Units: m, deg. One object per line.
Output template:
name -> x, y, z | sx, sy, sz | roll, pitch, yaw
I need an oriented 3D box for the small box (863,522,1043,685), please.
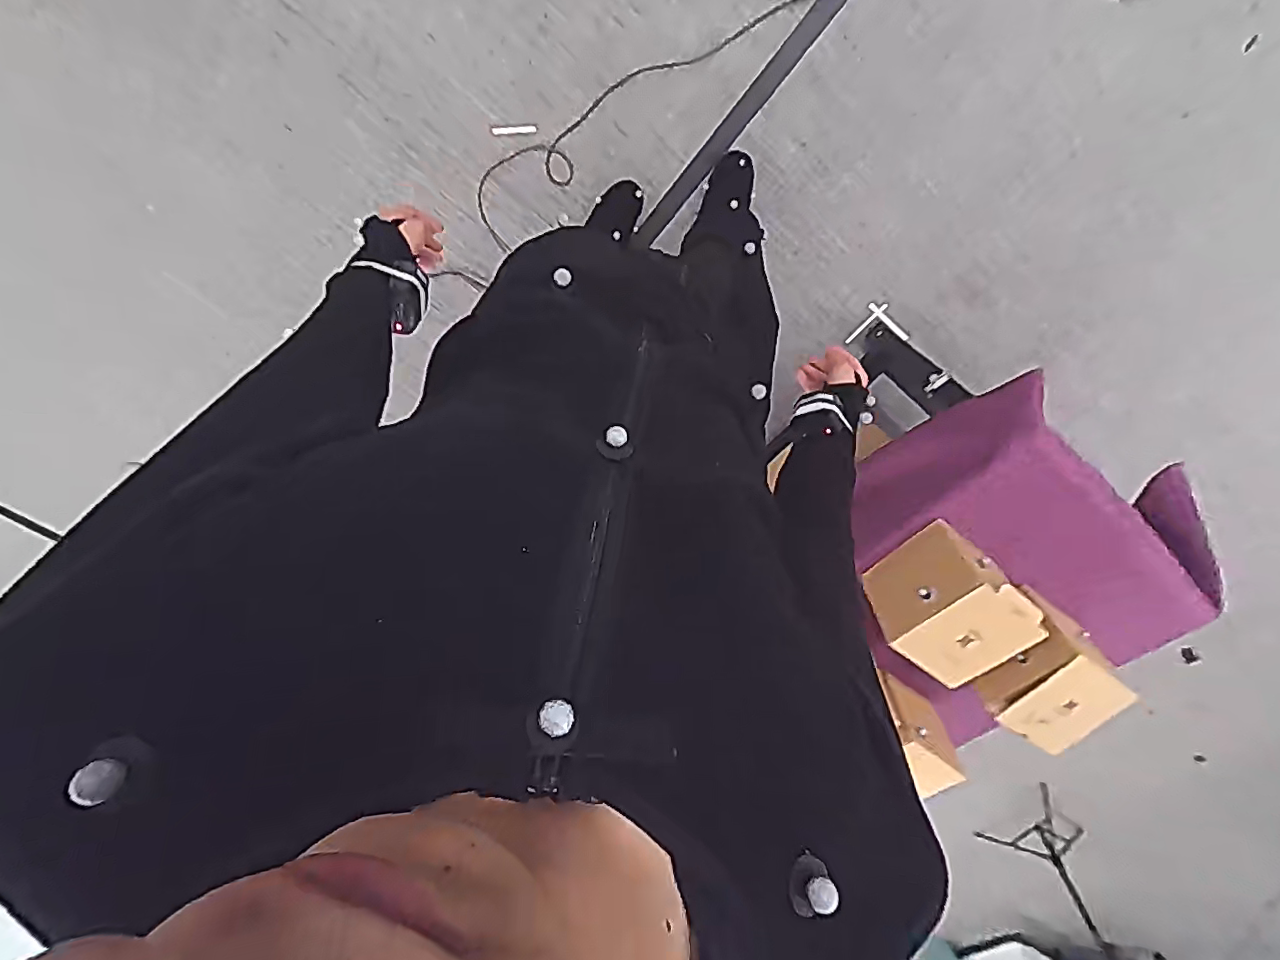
small box -> 0.516, 0.204, 0.919 | 0.168, 0.176, 0.179 | 35, 117, -17

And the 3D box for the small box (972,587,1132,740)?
small box -> 0.712, 0.329, 0.985 | 0.168, 0.176, 0.179 | 34, 117, -16
